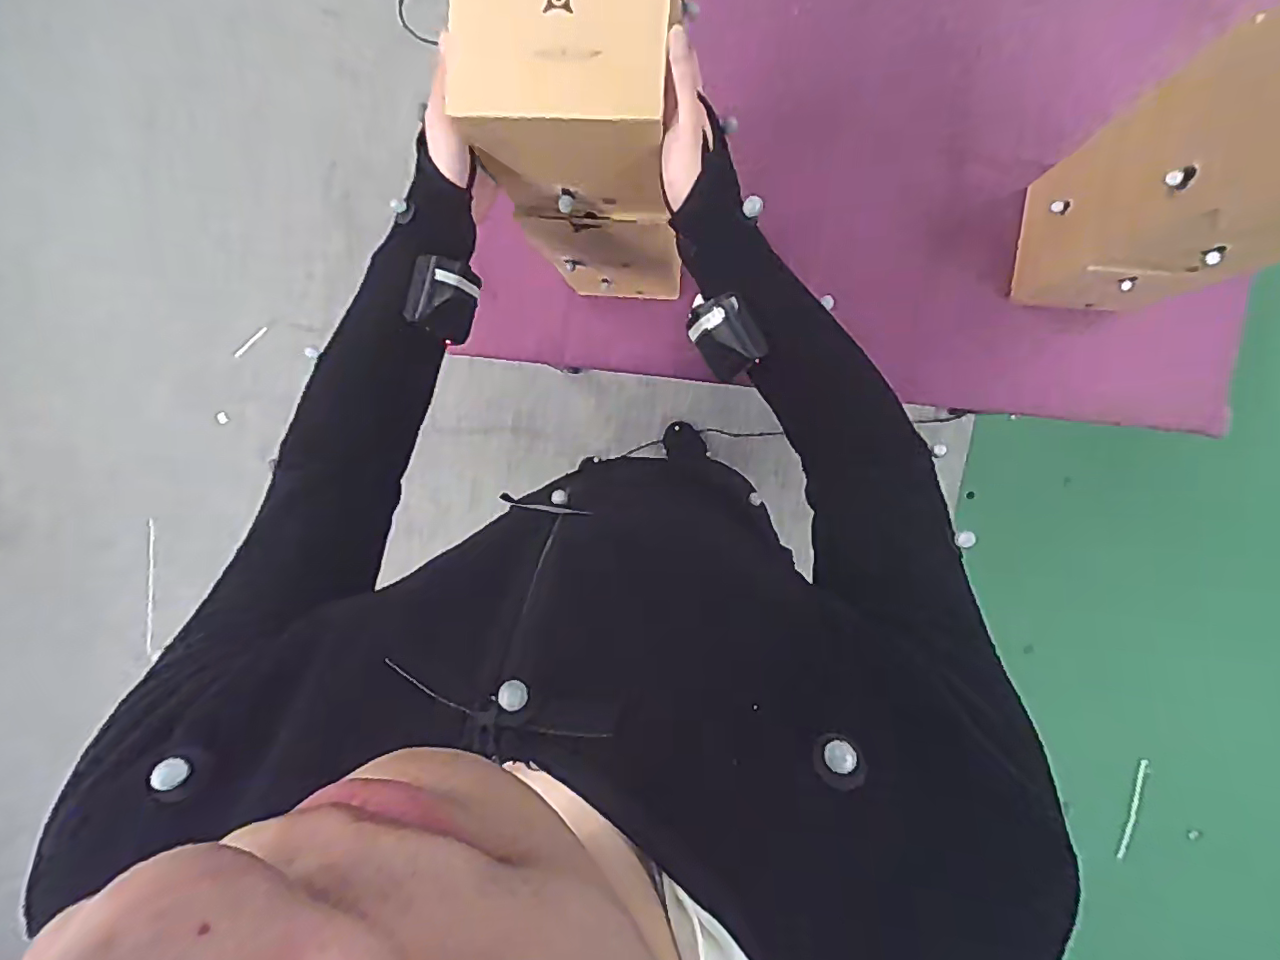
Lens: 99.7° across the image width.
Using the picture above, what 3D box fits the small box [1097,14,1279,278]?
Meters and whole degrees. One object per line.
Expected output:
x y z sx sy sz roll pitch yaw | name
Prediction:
0.630 -0.325 0.562 0.168 0.176 0.179 8 95 4 | small box

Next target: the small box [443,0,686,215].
-0.049 -0.354 0.464 0.168 0.176 0.179 5 95 6 | small box

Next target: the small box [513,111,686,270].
-0.036 -0.357 0.626 0.168 0.176 0.179 5 94 5 | small box

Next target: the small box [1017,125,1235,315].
0.646 -0.336 0.726 0.168 0.176 0.179 7 94 6 | small box

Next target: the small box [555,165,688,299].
-0.020 -0.372 0.790 0.168 0.176 0.179 5 95 6 | small box
